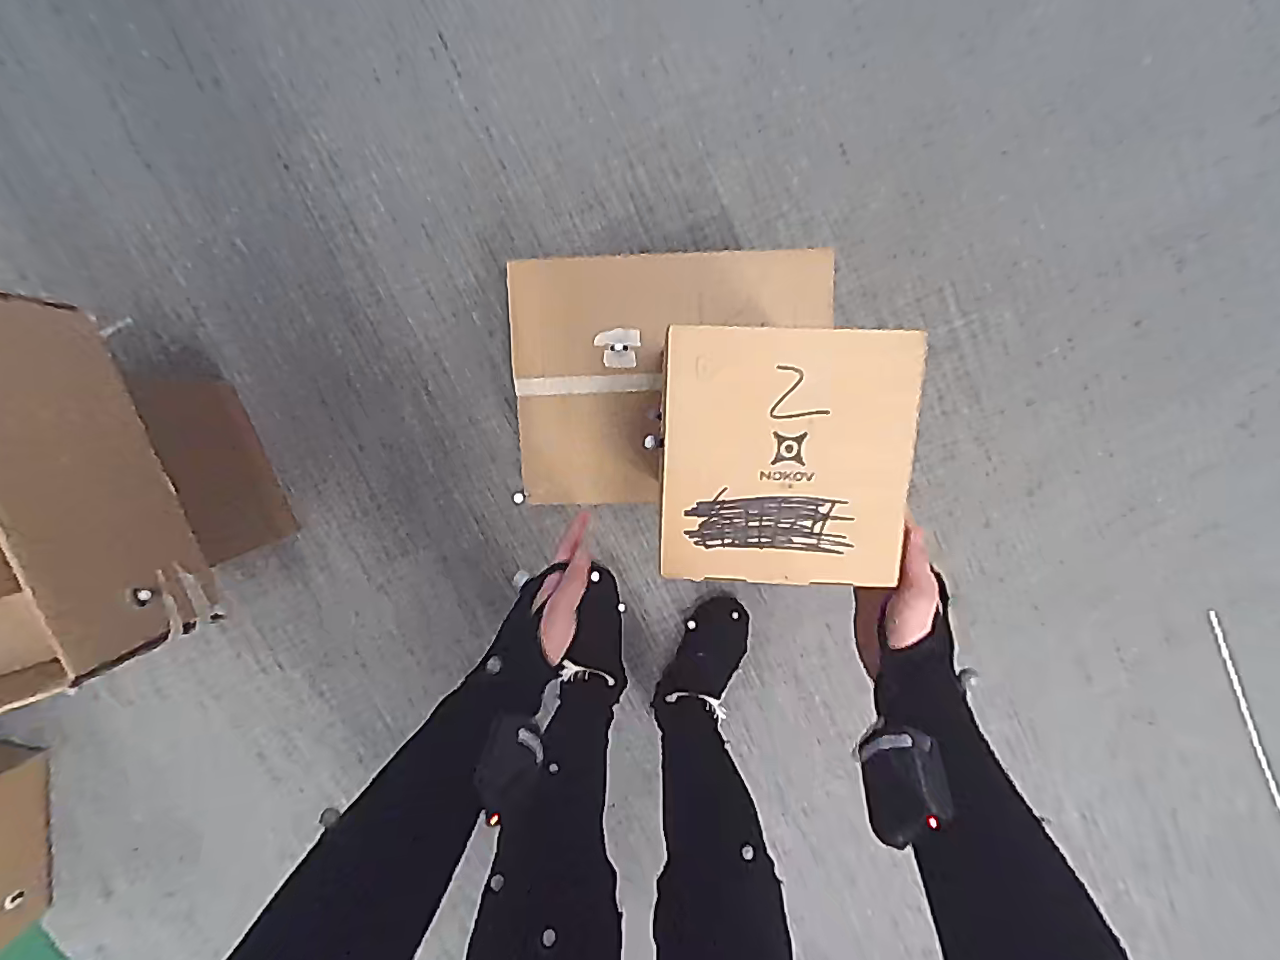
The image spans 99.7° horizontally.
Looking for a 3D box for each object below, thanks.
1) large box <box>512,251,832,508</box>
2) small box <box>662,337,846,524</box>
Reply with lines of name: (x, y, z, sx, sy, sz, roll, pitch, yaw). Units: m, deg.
large box: (0.051, -0.146, 0.836, 0.408, 0.320, 0.320, -2, 99, 3)
small box: (0.110, -0.061, 0.599, 0.168, 0.176, 0.179, 2, 100, 1)
